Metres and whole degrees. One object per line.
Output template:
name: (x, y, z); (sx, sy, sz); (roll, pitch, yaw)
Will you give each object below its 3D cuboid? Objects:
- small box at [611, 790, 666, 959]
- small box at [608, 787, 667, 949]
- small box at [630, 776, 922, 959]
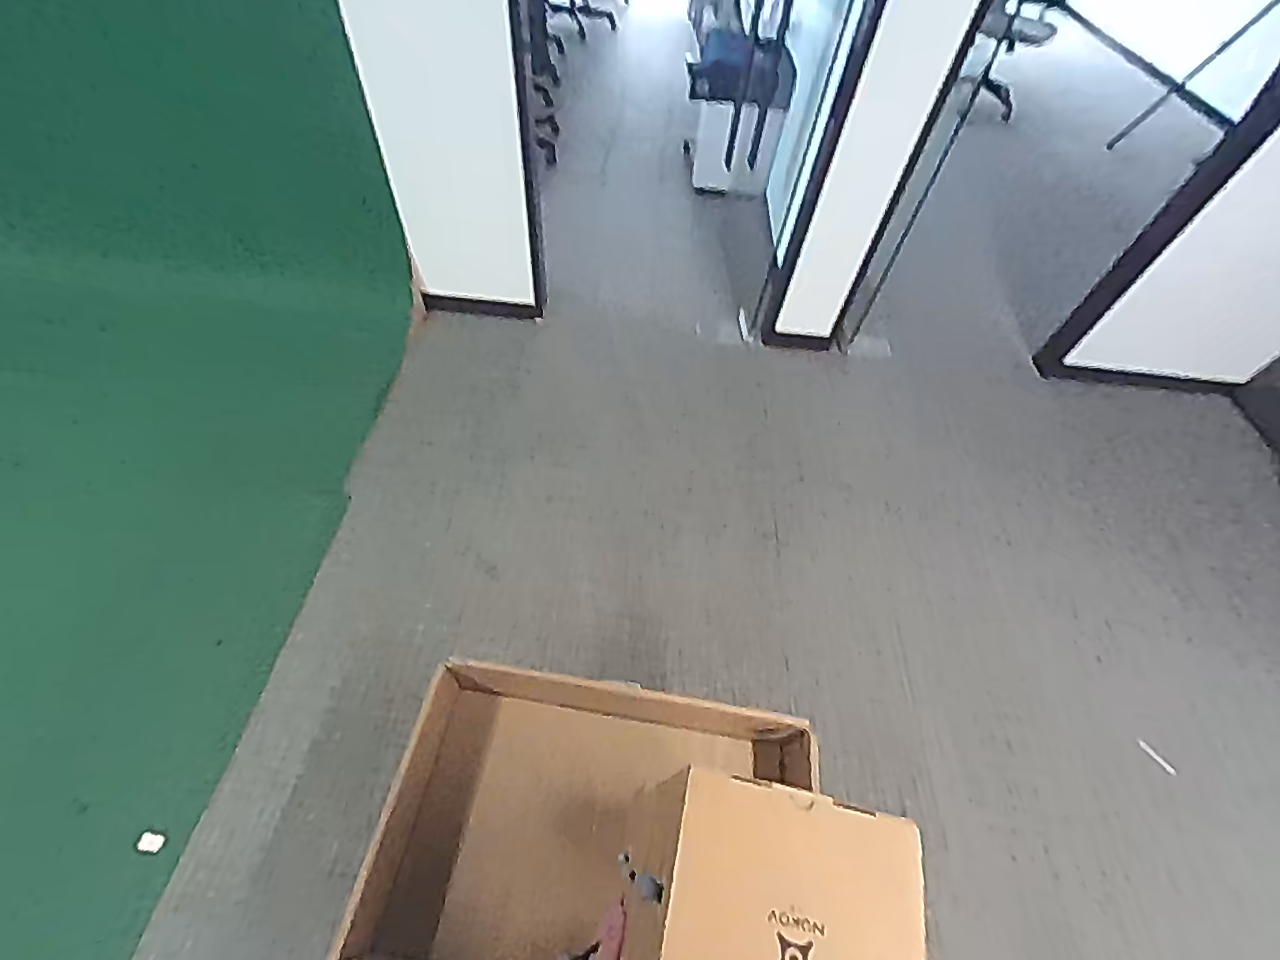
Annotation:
small box: (0.068, 0.427, 0.531); (0.168, 0.176, 0.179); (13, 56, 3)
small box: (0.058, 0.505, 0.674); (0.168, 0.176, 0.179); (13, 57, 3)
small box: (0.085, 0.339, 0.394); (0.168, 0.176, 0.179); (12, 56, 3)
